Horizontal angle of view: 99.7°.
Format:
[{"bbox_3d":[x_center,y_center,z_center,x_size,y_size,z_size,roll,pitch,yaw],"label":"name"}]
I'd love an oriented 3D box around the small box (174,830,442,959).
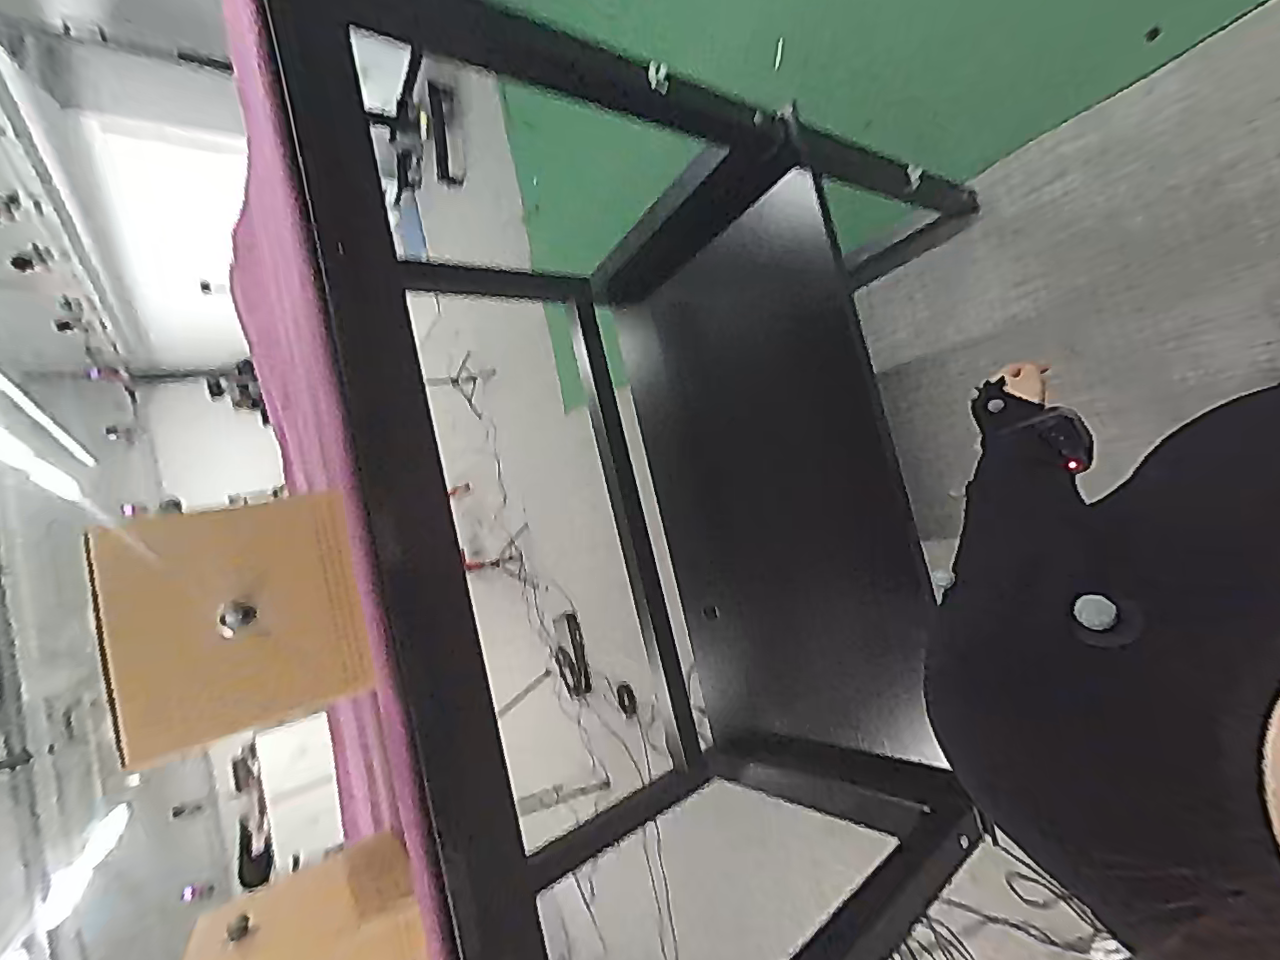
[{"bbox_3d":[-0.263,0.425,0.444,0.179,0.176,0.168,-26,77,54],"label":"small box"}]
